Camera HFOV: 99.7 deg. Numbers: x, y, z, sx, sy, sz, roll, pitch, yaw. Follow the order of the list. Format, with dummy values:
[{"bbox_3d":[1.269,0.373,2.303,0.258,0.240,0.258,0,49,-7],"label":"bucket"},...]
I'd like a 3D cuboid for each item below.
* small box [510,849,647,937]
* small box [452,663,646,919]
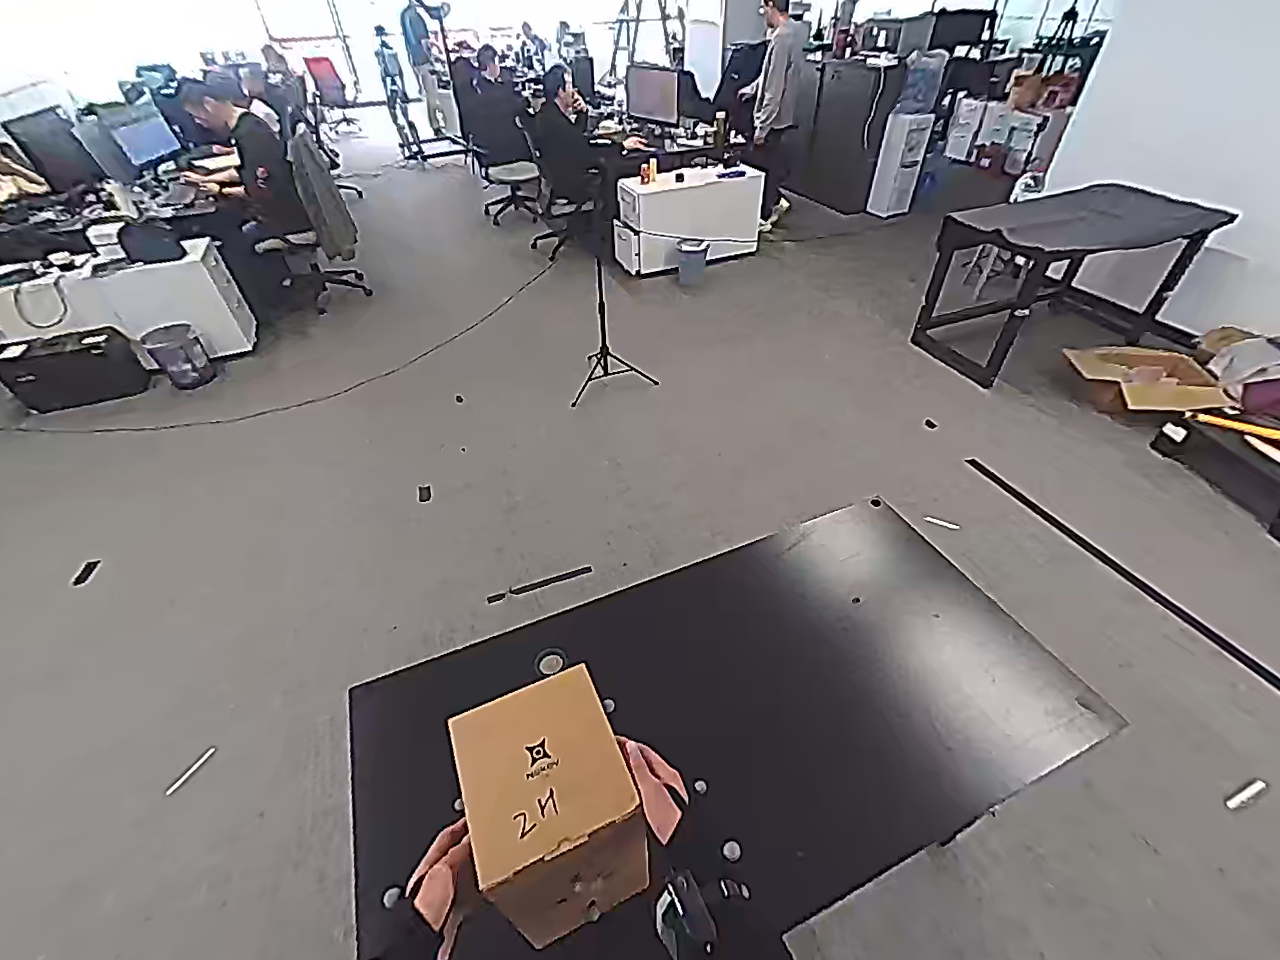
[{"bbox_3d":[-0.096,0.475,0.729,0.168,0.176,0.179,-18,45,-17],"label":"small box"},{"bbox_3d":[-0.101,0.352,0.619,0.168,0.176,0.179,-18,45,-16],"label":"small box"}]
